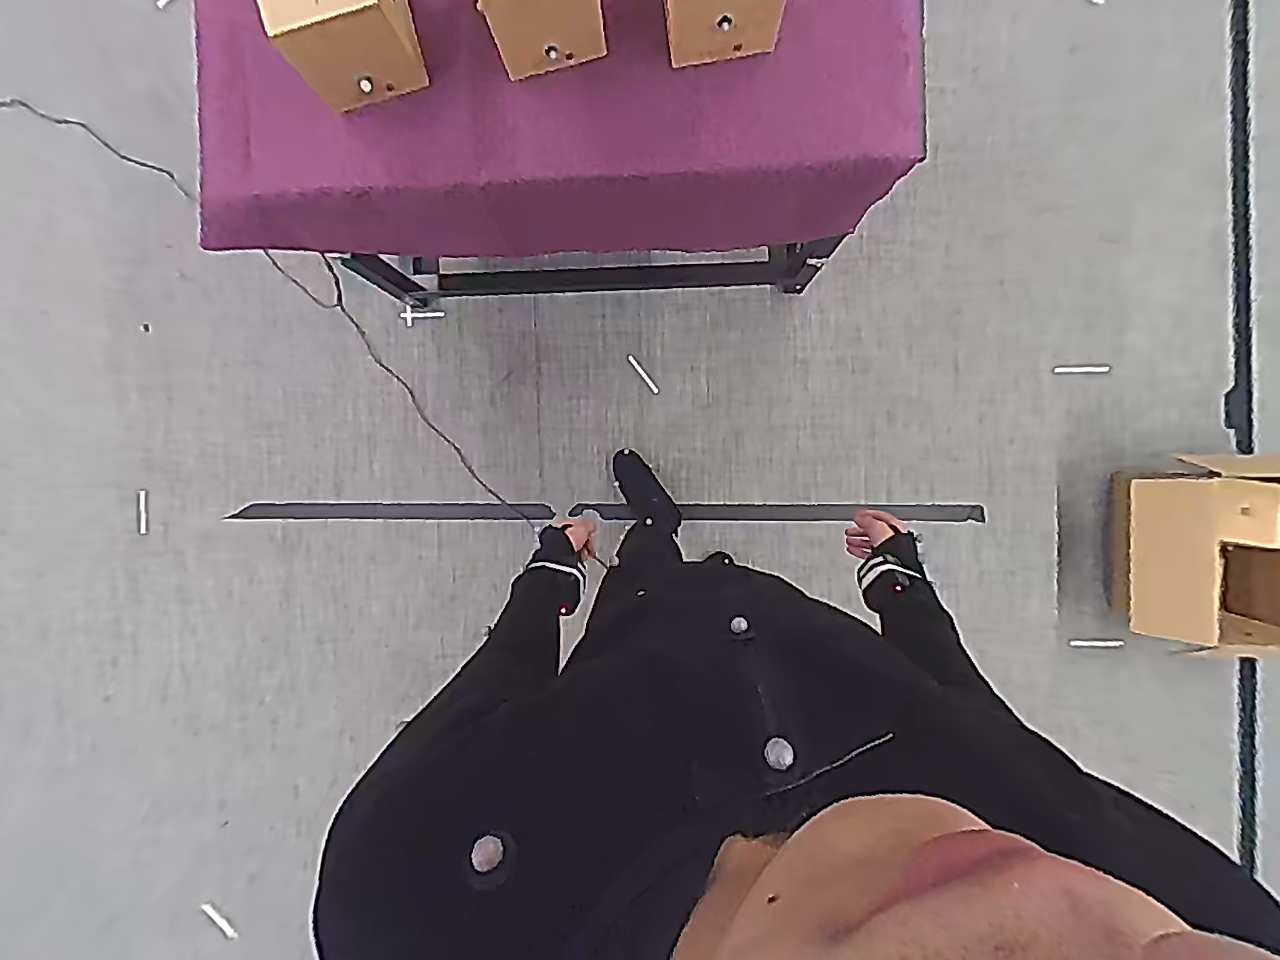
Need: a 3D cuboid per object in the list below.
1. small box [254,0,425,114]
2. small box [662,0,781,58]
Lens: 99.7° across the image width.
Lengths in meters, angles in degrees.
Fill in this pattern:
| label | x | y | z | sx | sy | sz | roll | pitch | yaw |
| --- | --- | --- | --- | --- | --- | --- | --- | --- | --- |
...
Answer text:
| label | x | y | z | sx | sy | sz | roll | pitch | yaw |
| --- | --- | --- | --- | --- | --- | --- | --- | --- | --- |
| small box | -0.454 | -0.708 | 0.817 | 0.168 | 0.176 | 0.179 | -15 | 92 | 3 |
| small box | 0.116 | -0.759 | 0.786 | 0.168 | 0.176 | 0.179 | -7 | 91 | 3 |
